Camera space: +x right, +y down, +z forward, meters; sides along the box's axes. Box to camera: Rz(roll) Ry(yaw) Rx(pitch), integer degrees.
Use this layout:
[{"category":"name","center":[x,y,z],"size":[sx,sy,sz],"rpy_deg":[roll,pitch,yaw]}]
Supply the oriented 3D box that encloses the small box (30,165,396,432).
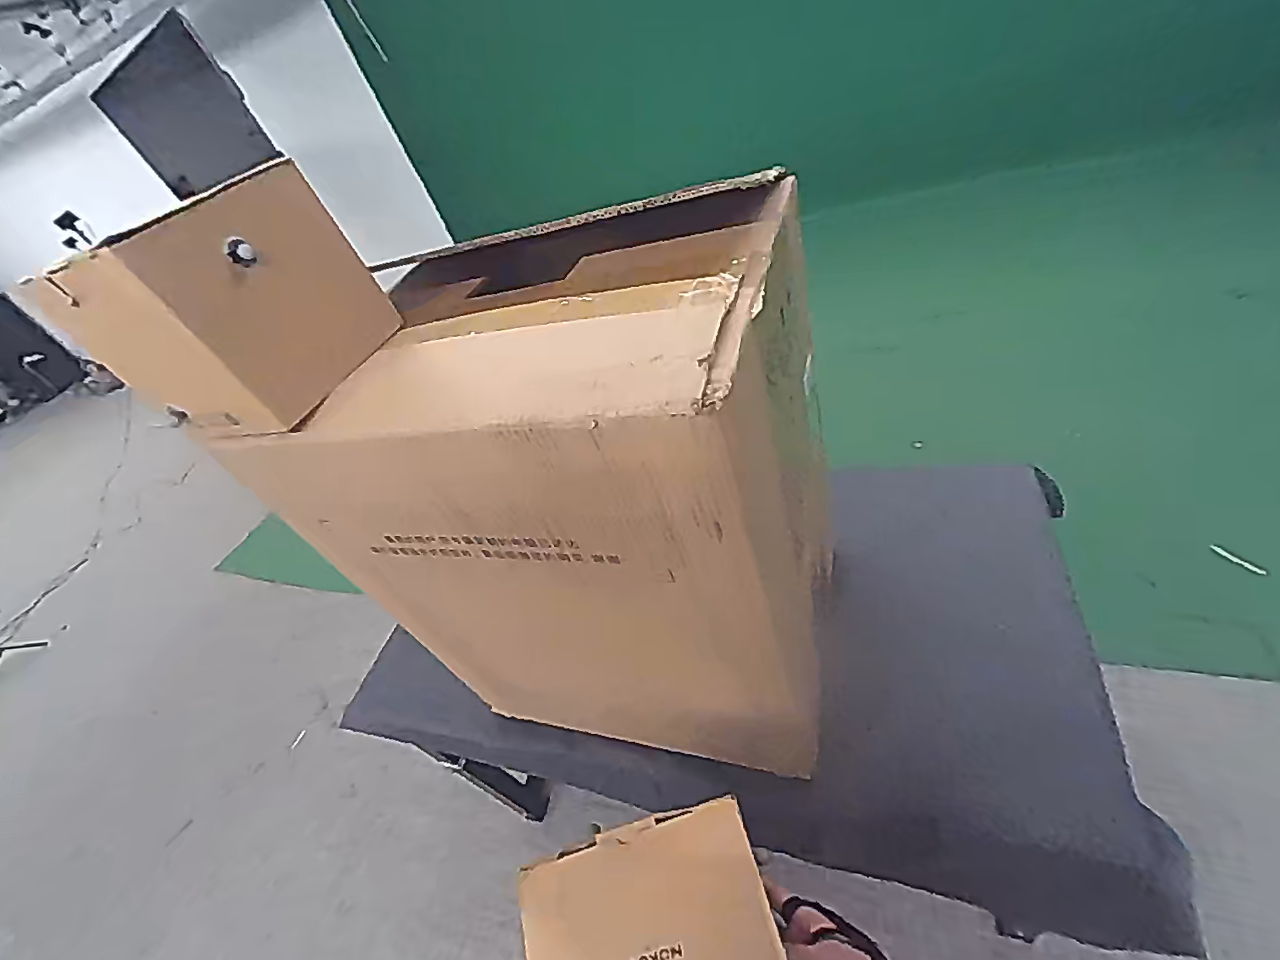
[{"category":"small box","center":[-0.372,-0.156,0.506],"size":[0.168,0.176,0.179],"rpy_deg":[0,45,27]}]

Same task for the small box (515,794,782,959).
[{"category":"small box","center":[0.018,0.363,0.408],"size":[0.168,0.176,0.179],"rpy_deg":[-17,57,-3]}]
